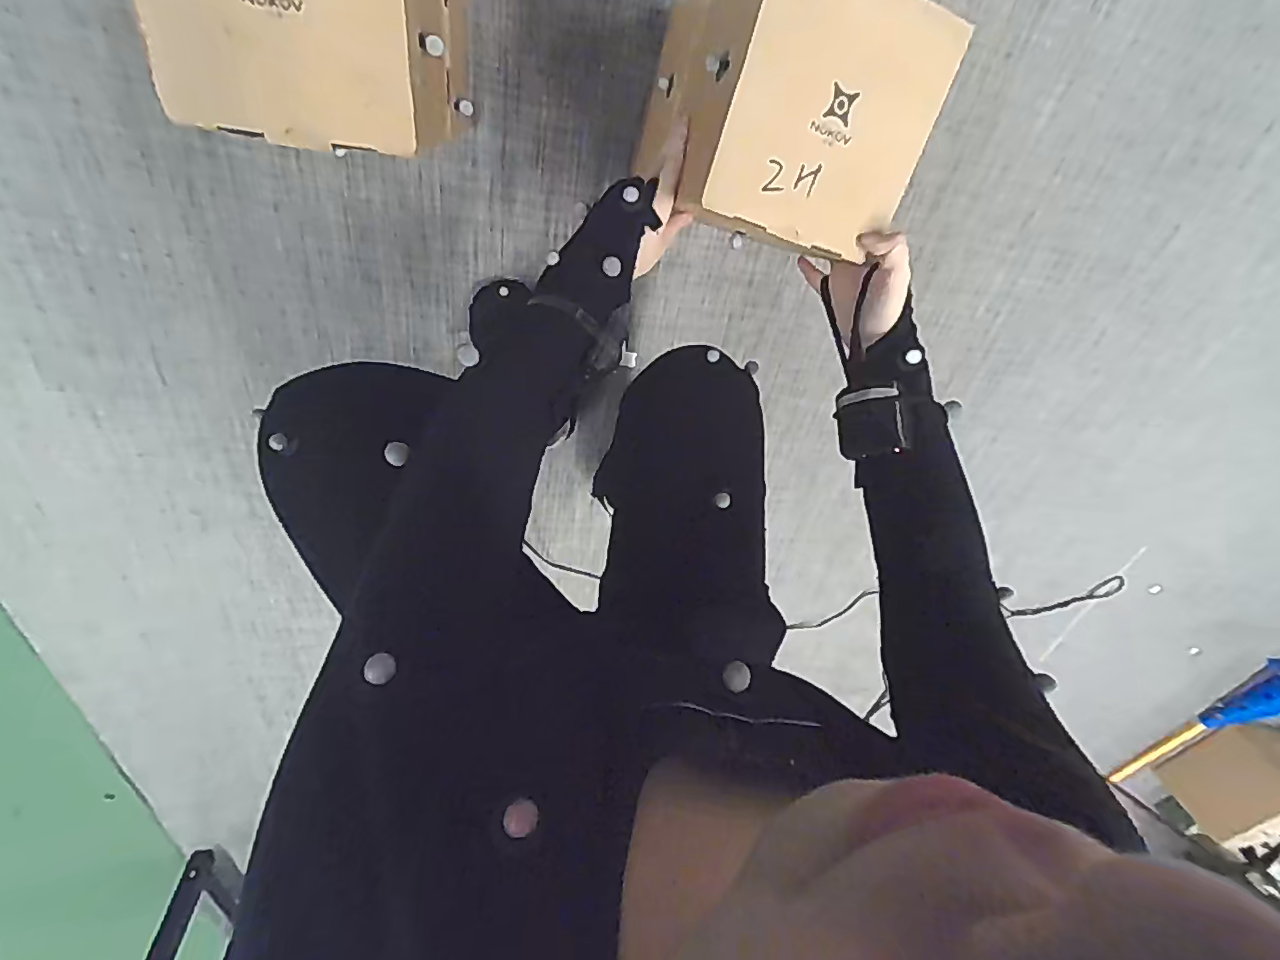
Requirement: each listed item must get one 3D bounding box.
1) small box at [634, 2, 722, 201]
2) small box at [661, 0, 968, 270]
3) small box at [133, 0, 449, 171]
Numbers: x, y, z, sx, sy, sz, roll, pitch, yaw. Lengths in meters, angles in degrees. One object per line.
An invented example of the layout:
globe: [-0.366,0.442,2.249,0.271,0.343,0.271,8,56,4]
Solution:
small box: [0.100,-0.415,0.636,0.168,0.176,0.179,8,125,-17]
small box: [0.130,-0.306,0.480,0.168,0.176,0.179,10,114,-18]
small box: [-0.243,-0.353,0.405,0.168,0.176,0.179,1,126,-12]
